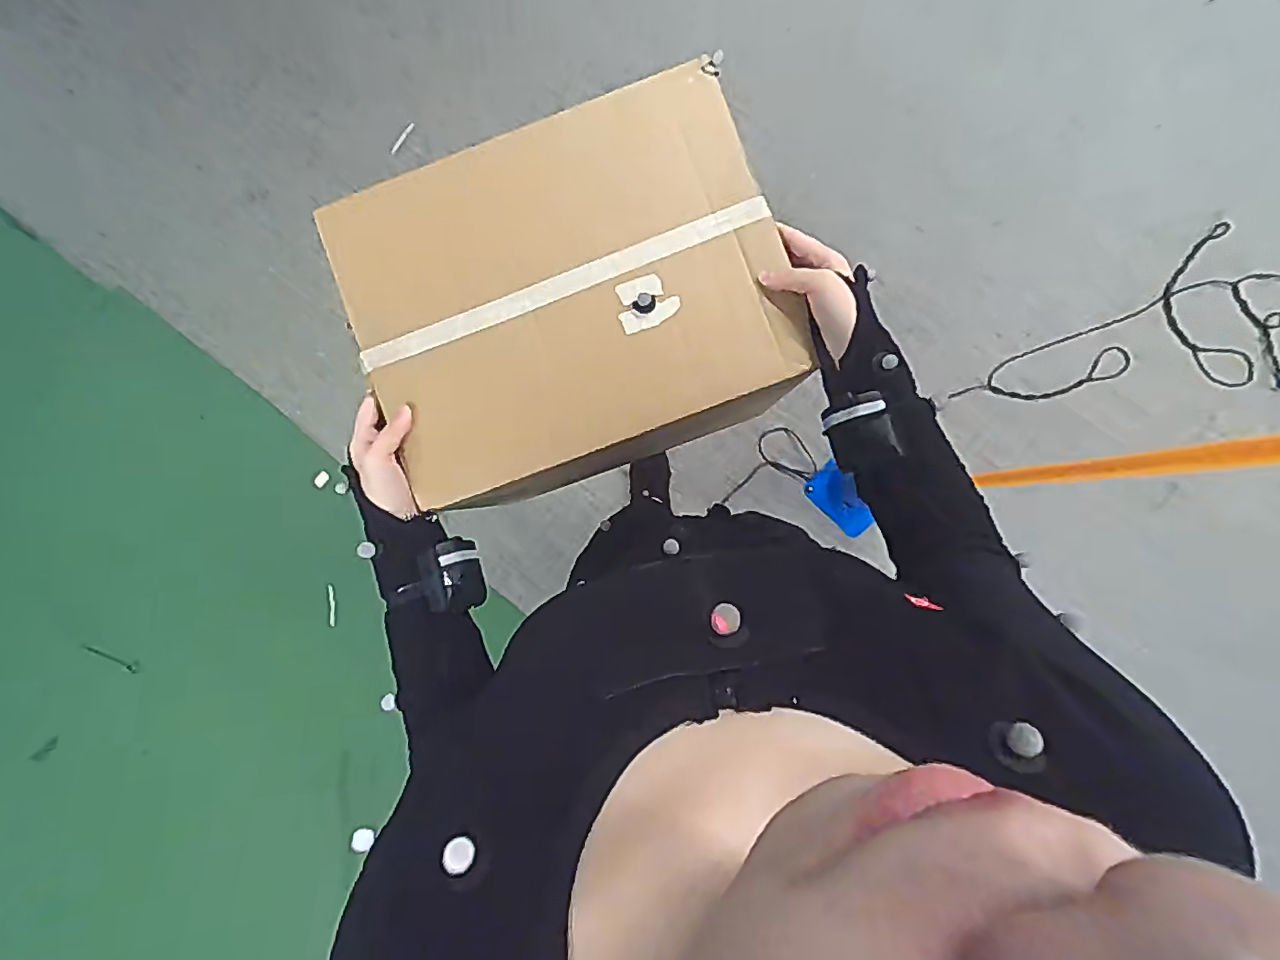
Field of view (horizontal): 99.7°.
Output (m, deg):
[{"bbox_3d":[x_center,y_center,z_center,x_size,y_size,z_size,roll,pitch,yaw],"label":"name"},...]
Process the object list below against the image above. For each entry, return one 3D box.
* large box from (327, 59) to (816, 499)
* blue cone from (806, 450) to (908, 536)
[{"bbox_3d":[-0.067,-0.187,0.663,0.408,0.320,0.320,-20,88,1],"label":"large box"},{"bbox_3d":[0.558,0.029,1.297,0.192,0.380,0.193,-44,85,3],"label":"blue cone"}]
